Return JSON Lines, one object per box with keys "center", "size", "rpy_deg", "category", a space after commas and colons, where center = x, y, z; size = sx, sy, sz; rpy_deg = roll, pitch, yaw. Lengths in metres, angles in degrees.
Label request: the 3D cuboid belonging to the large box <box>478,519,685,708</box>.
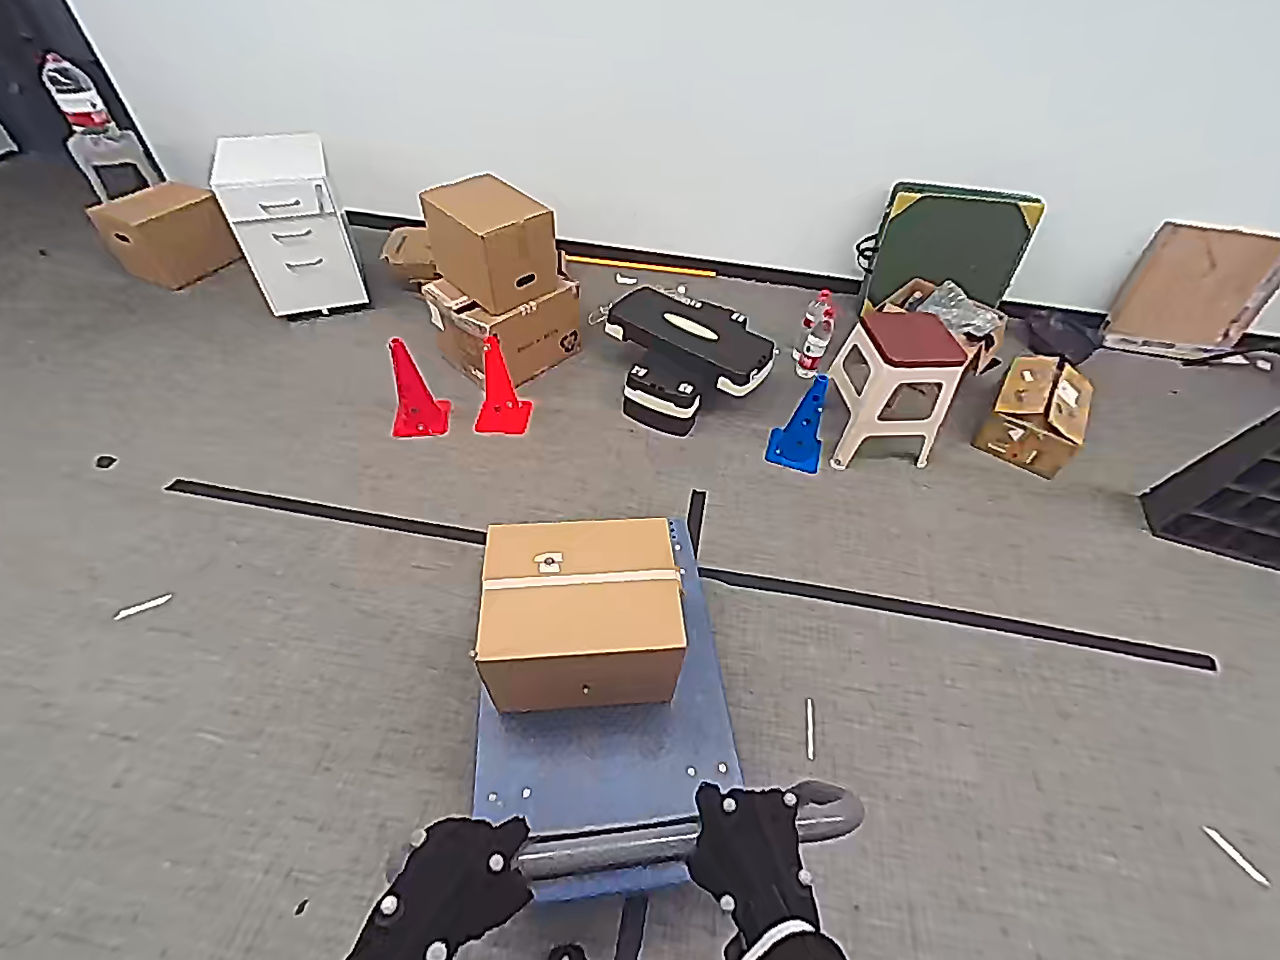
{"center": [-0.127, 0.310, 1.243], "size": [0.408, 0.320, 0.320], "rpy_deg": [-2, 50, -5], "category": "large box"}
